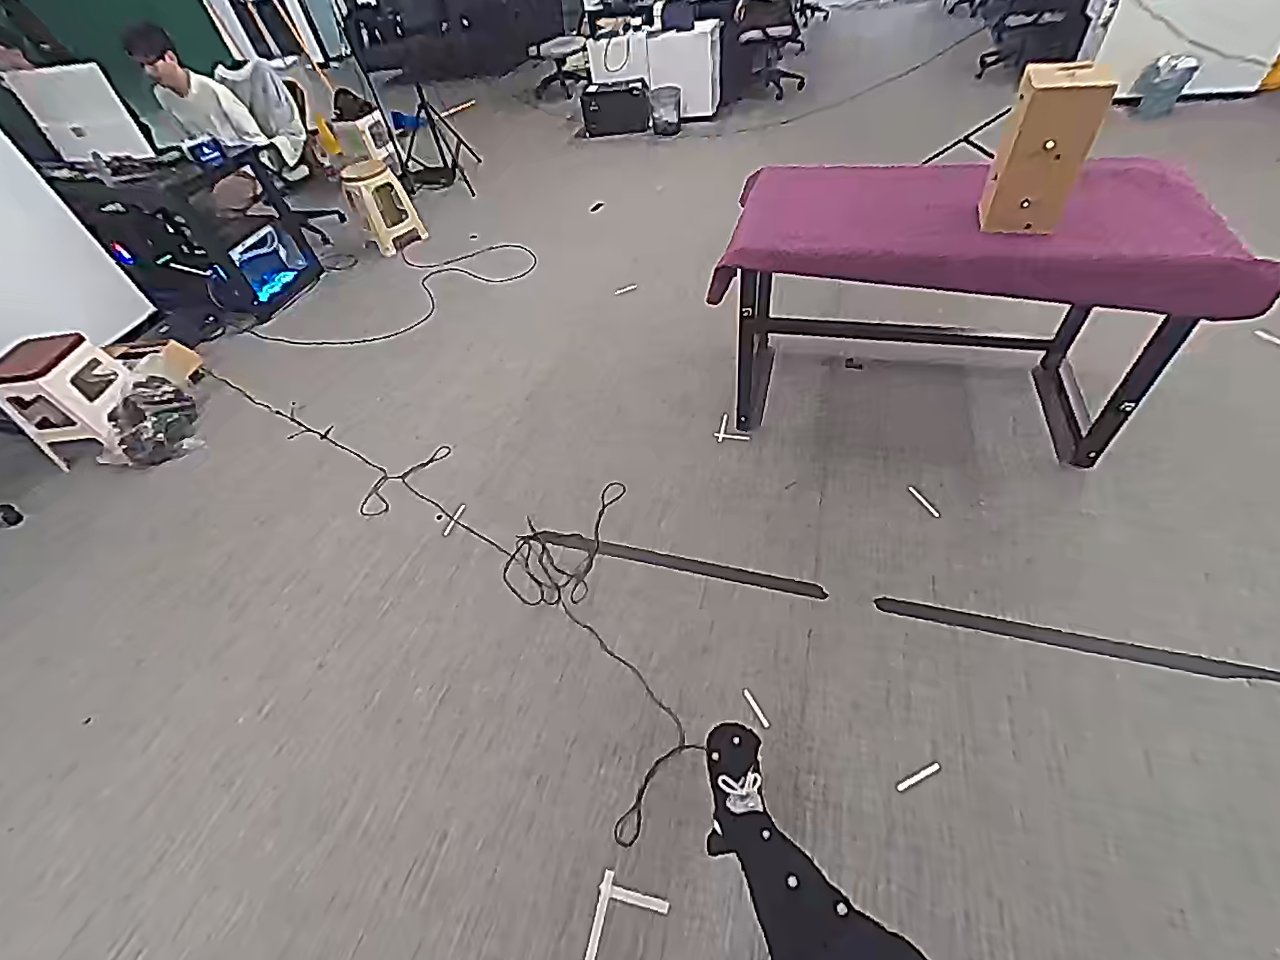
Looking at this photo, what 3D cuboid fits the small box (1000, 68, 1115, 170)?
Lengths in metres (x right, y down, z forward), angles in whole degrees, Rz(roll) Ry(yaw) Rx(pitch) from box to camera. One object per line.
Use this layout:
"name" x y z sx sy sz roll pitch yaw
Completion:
"small box" 1.004 -0.880 1.319 0.168 0.176 0.179 10 52 17

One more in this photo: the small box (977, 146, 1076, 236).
"small box" 1.018 -0.769 1.440 0.168 0.176 0.179 11 51 17
